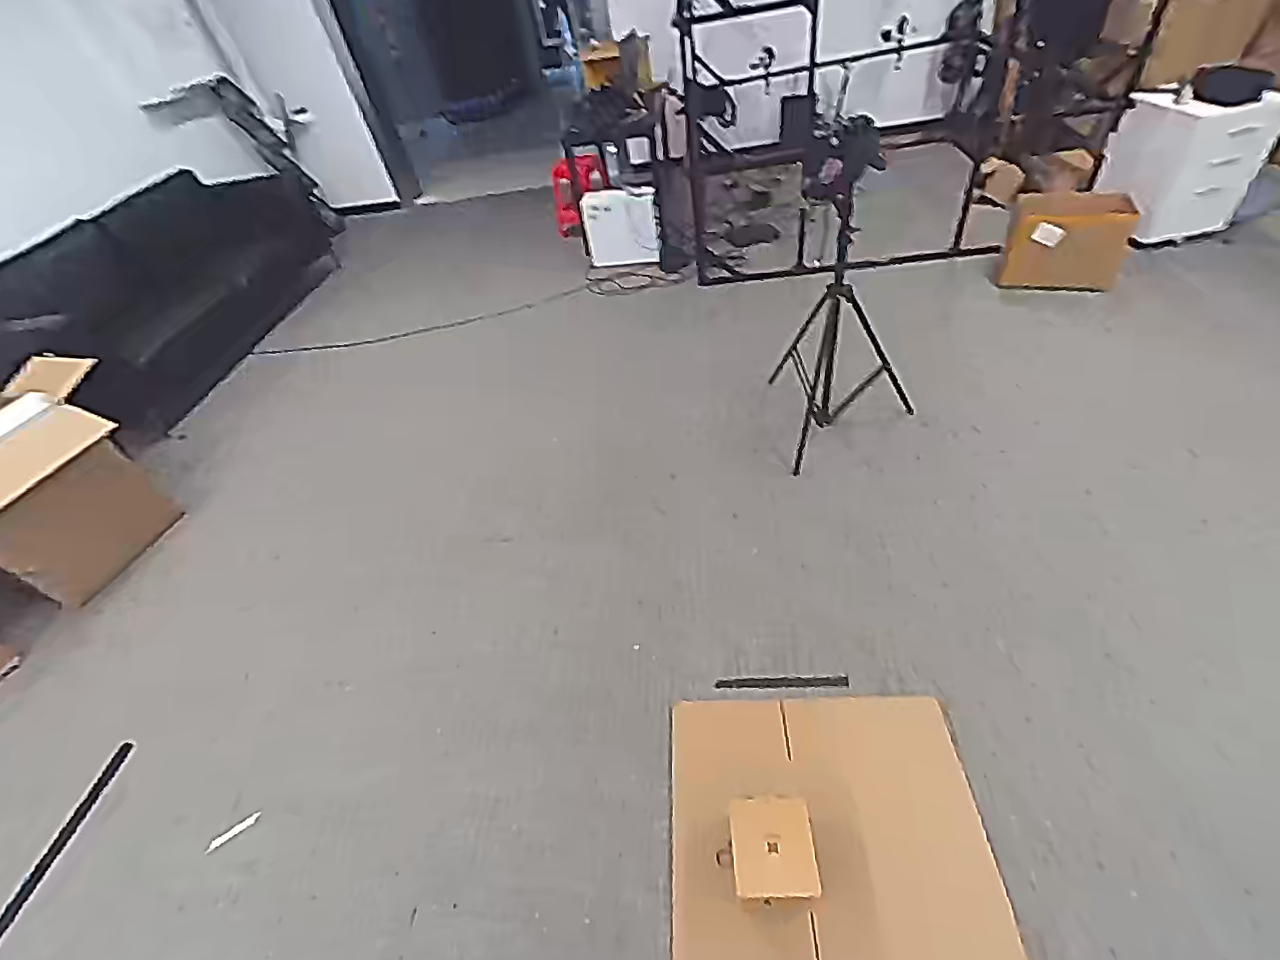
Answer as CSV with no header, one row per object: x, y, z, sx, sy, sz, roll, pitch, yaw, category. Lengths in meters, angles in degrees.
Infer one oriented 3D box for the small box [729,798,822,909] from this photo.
0.285,0.804,1.160,0.168,0.176,0.179,-5,45,6,small box
